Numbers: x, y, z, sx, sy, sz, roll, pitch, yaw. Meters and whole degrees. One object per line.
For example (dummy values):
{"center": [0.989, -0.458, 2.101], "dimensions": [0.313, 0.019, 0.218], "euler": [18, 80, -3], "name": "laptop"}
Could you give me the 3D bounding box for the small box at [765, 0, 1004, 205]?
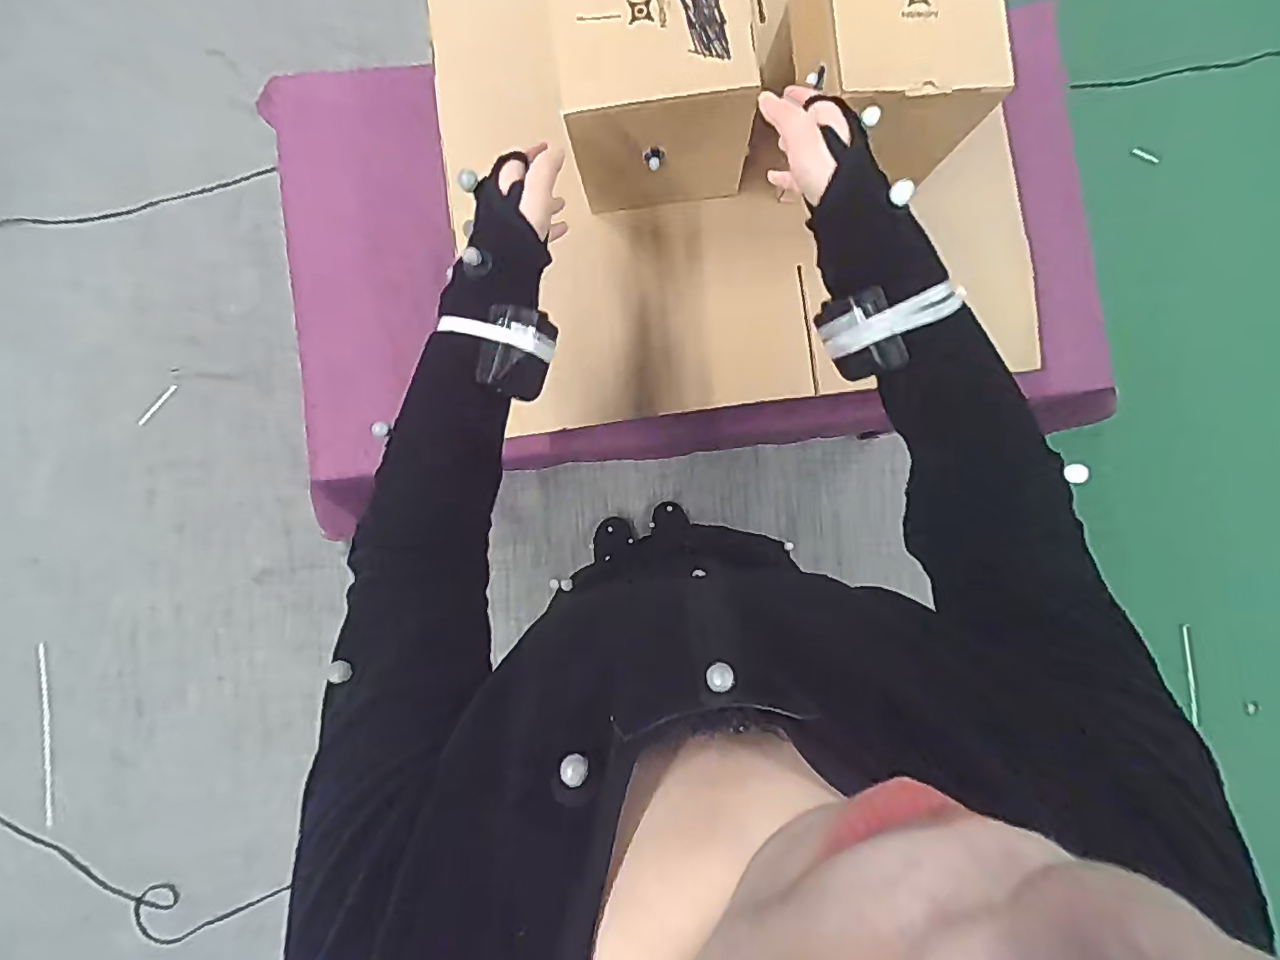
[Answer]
{"center": [0.241, -0.424, 0.575], "dimensions": [0.168, 0.176, 0.179], "euler": [-5, 88, -5], "name": "small box"}
